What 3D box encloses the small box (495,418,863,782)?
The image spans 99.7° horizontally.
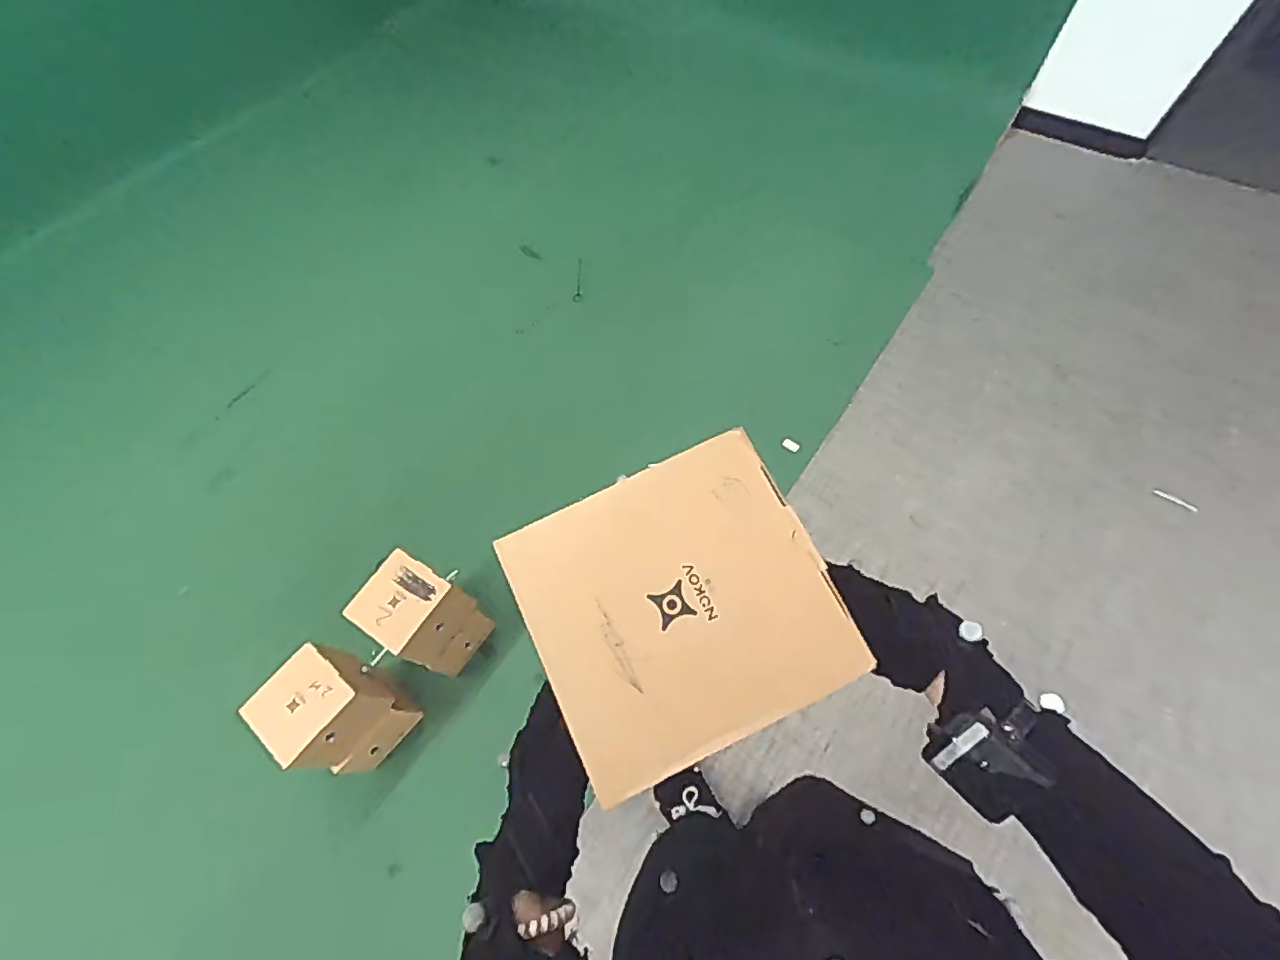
[{"bbox_3d":[0.022,0.083,0.400,0.179,0.176,0.168,-24,74,-4],"label":"small box"}]

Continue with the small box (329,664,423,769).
[{"bbox_3d":[-0.654,0.550,1.281,0.179,0.176,0.168,37,71,20],"label":"small box"}]

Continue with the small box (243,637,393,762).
[{"bbox_3d":[-0.666,0.465,1.140,0.168,0.176,0.179,36,71,19],"label":"small box"}]
